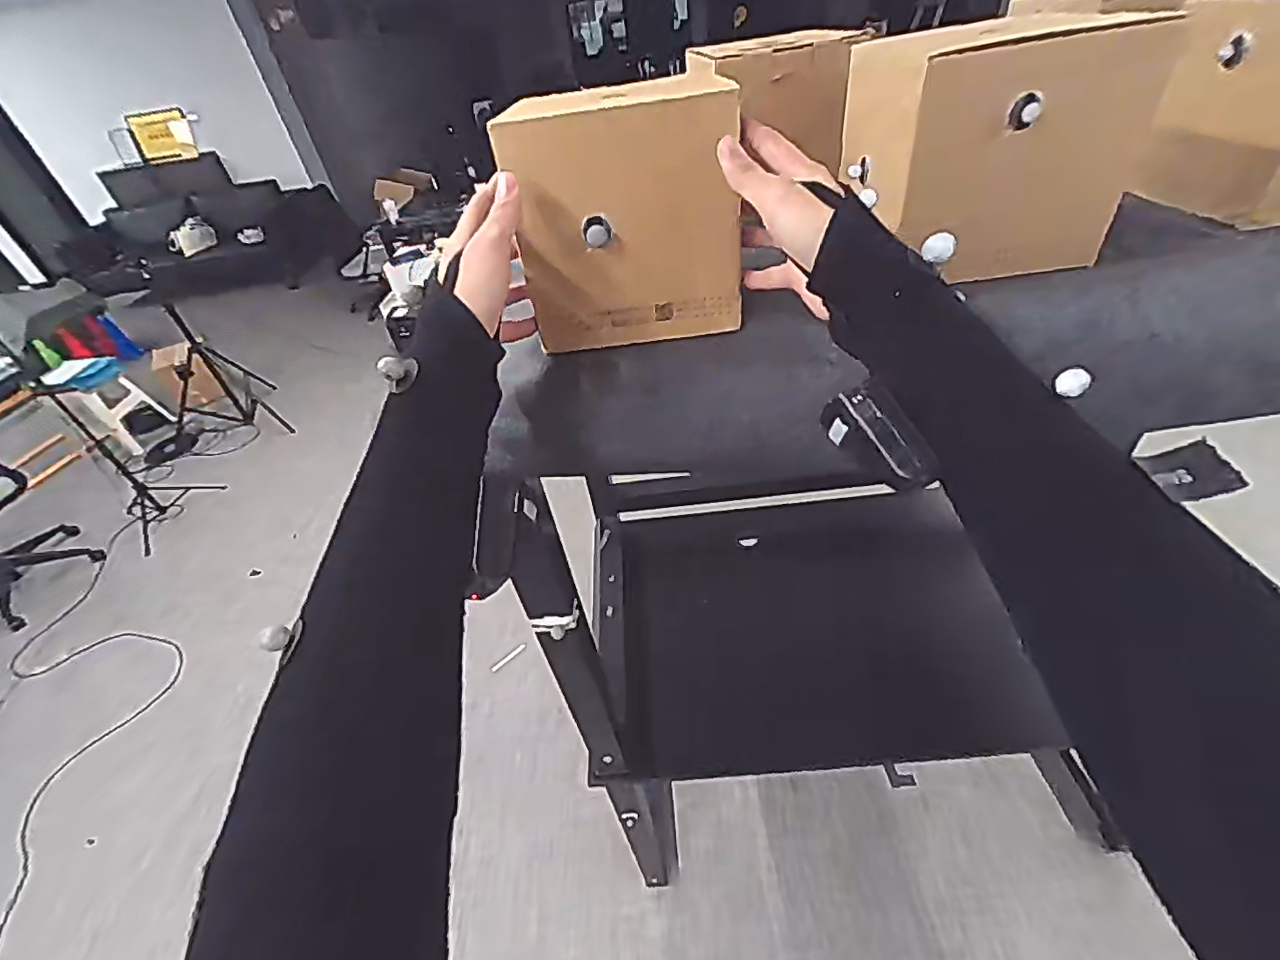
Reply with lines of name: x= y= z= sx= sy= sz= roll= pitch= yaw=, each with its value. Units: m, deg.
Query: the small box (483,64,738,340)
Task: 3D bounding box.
small box: x=-0.012 y=-0.227 z=0.453 sx=0.168 sy=0.176 sz=0.179 roll=-7 pitch=39 yaw=3

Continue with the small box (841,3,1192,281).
small box: x=0.284 y=-0.285 z=0.467 sx=0.179 sy=0.176 sz=0.168 roll=-6 pitch=41 yaw=4

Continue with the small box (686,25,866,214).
small box: x=0.155 y=-0.436 z=0.666 sx=0.168 sy=0.176 sz=0.179 roll=-9 pitch=40 yaw=0

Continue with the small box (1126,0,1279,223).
small box: x=0.593 y=-0.340 z=0.473 sx=0.168 sy=0.176 sz=0.179 roll=-7 pitch=40 yaw=5
